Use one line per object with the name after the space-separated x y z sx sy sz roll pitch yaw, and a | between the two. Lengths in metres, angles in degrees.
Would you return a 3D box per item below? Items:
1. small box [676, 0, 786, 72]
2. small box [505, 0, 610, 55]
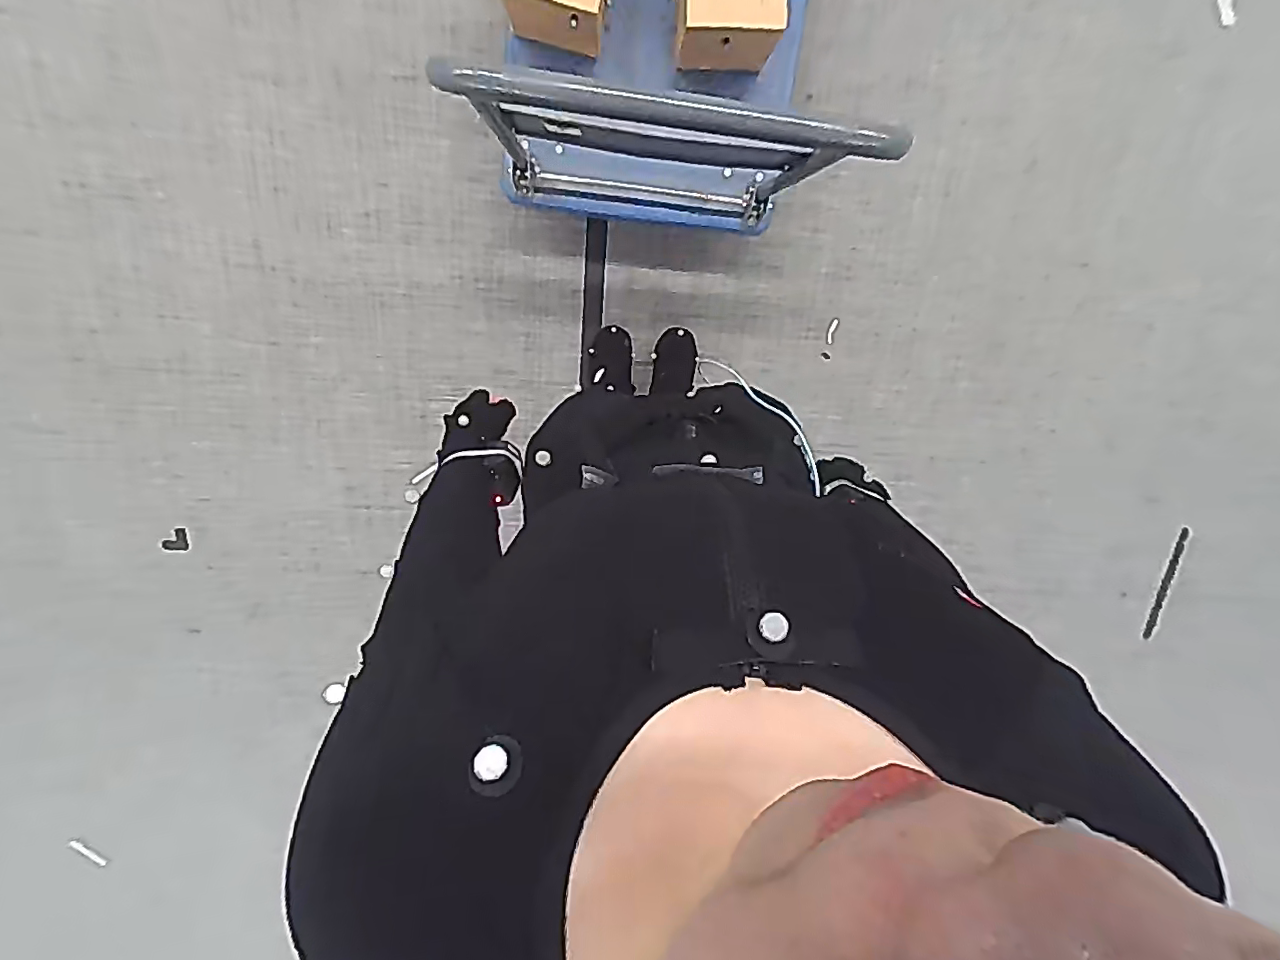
0.160 -0.870 0.978 0.179 0.176 0.168 0 108 -3 | small box
-0.142 -0.896 0.954 0.179 0.176 0.168 11 106 -8 | small box
